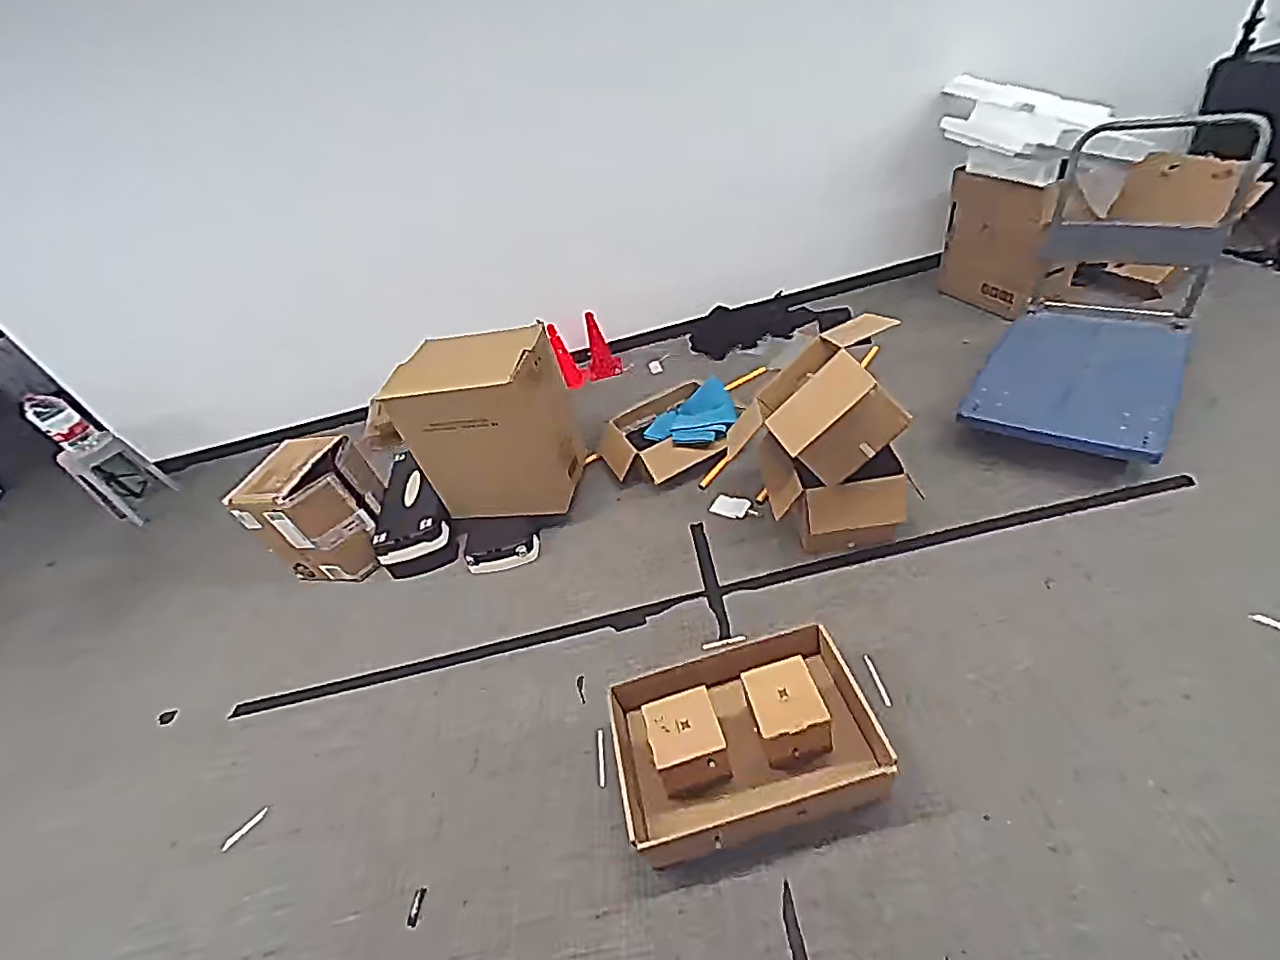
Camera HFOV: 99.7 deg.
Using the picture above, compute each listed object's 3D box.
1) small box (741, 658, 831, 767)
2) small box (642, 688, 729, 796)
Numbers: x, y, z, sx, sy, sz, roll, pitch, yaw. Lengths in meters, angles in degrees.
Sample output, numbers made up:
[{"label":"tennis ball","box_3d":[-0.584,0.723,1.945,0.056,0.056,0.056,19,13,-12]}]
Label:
[{"label":"small box","box_3d":[0.367,0.590,1.369,0.168,0.176,0.179,-17,40,0]},{"label":"small box","box_3d":[0.118,0.663,1.365,0.179,0.176,0.168,-17,39,-2]}]
